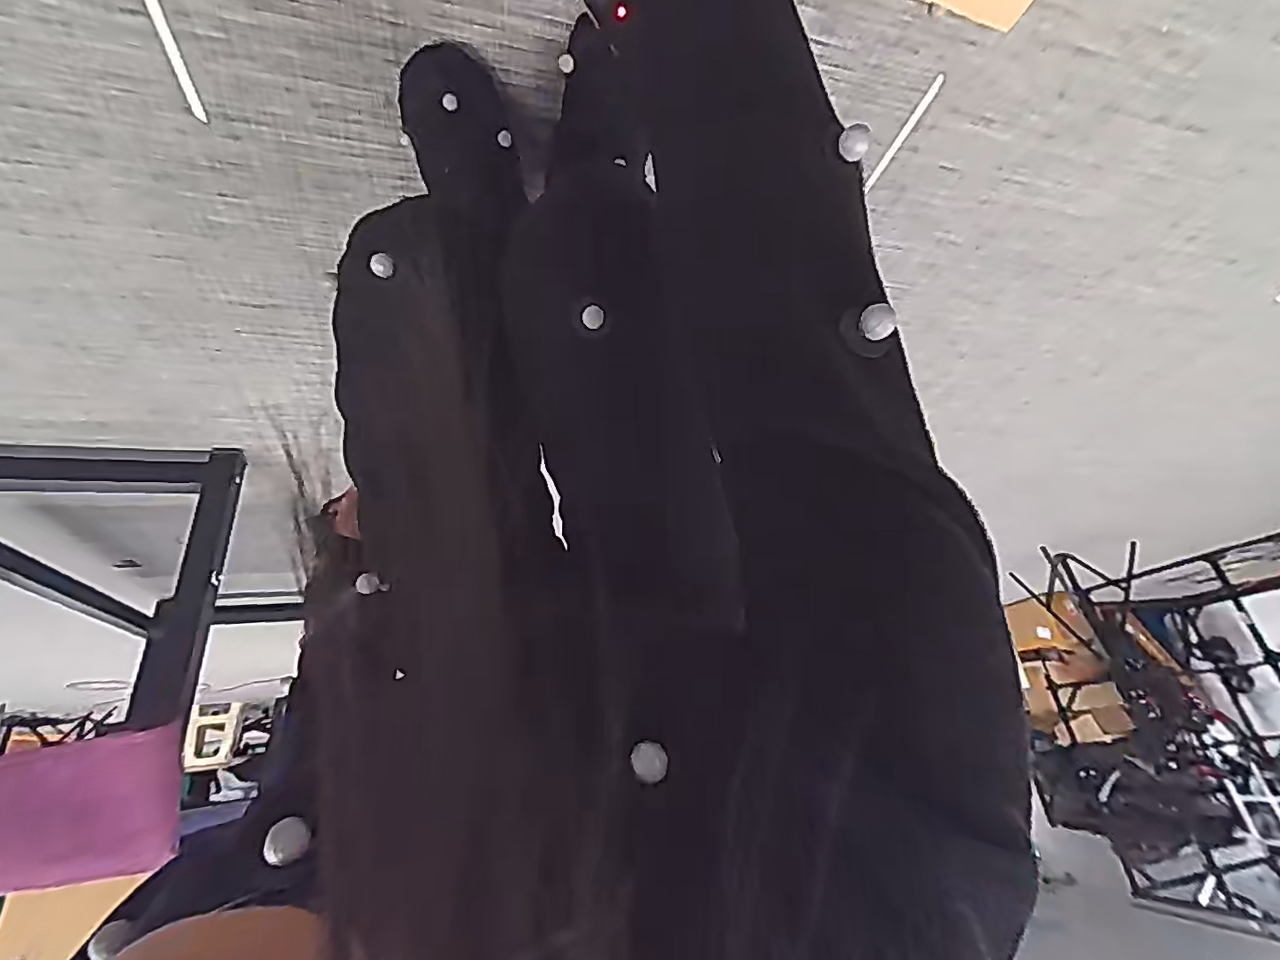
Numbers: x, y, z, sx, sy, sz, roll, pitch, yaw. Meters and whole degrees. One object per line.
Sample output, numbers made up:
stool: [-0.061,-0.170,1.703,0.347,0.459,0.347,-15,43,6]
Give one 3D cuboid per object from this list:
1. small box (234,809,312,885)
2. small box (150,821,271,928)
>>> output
small box: [-1.086,1.077,1.588,0.168,0.176,0.179,0,154,-16]
small box: [-1.018,0.935,1.302,0.179,0.176,0.168,0,154,-15]
